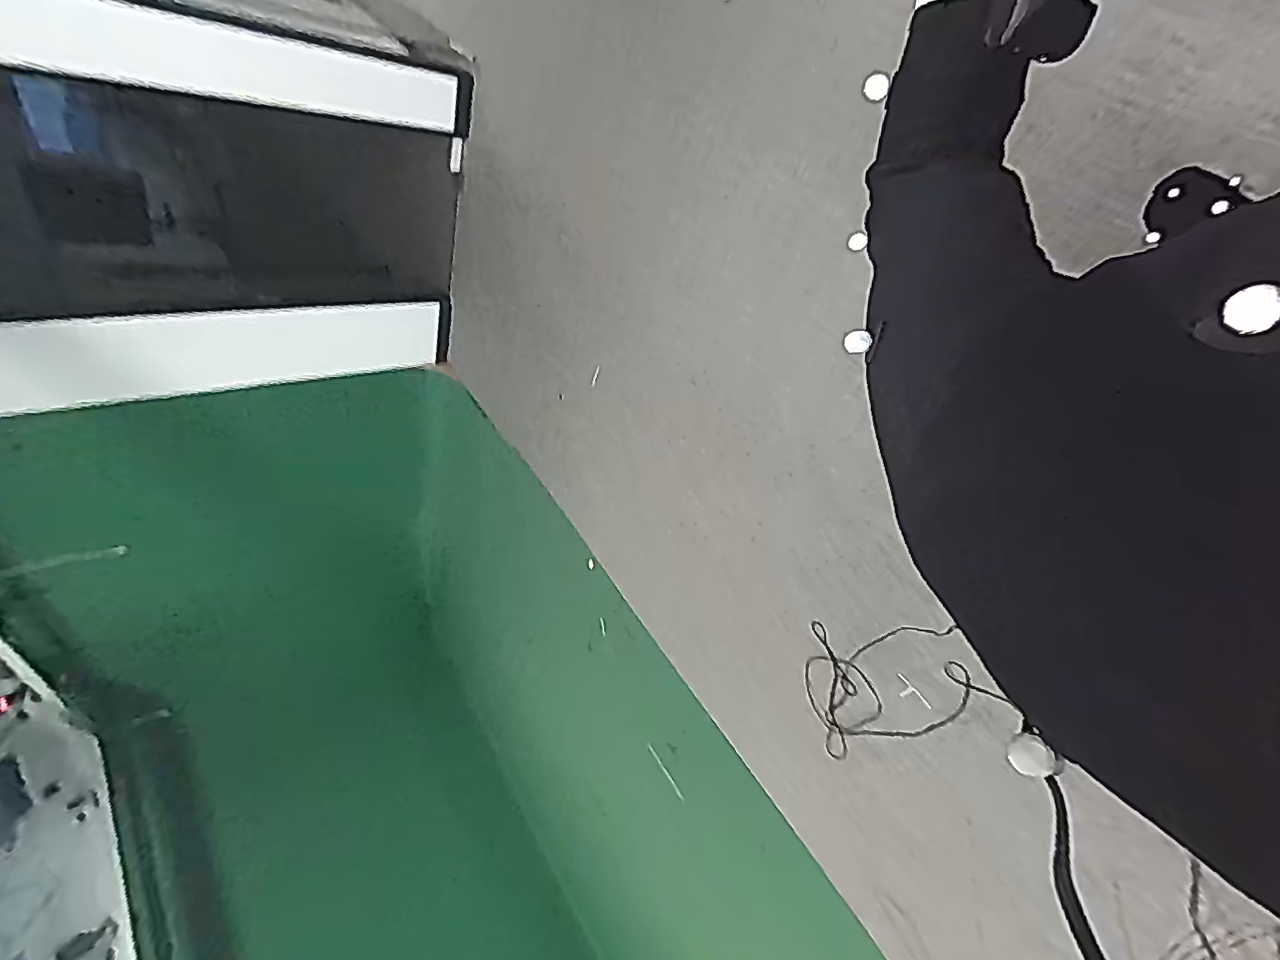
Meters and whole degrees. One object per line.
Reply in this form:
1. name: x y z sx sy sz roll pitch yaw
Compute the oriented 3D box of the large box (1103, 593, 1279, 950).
1. large box: 0.427 0.098 0.086 0.408 0.320 0.320 -45 28 11
